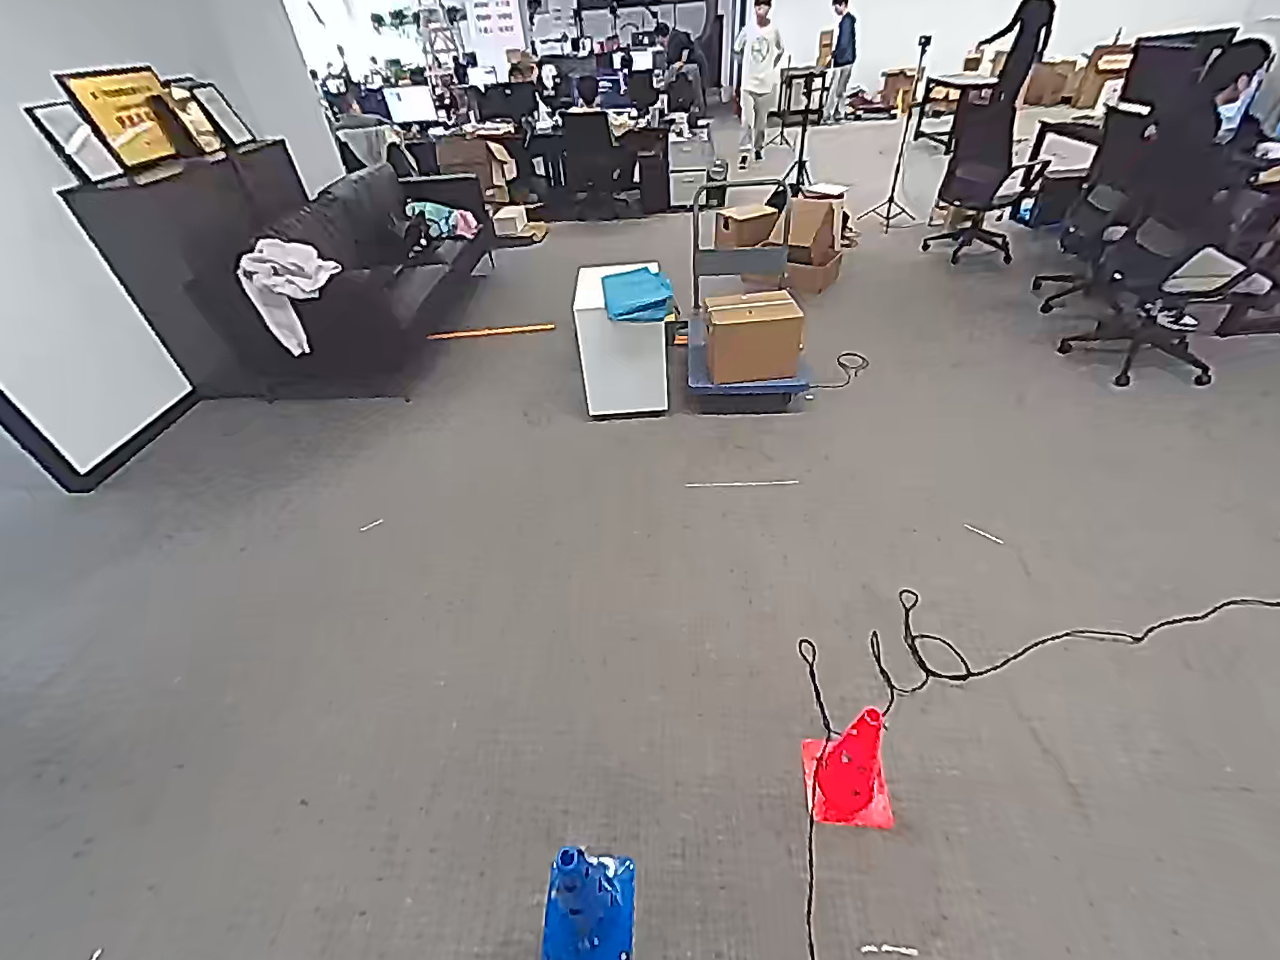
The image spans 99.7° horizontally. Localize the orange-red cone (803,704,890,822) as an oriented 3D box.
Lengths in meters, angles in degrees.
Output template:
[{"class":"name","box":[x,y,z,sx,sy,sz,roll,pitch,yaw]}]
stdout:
[{"class":"orange-red cone","box":[0.513,0.635,1.280,0.198,0.360,0.199,1,42,9]}]
